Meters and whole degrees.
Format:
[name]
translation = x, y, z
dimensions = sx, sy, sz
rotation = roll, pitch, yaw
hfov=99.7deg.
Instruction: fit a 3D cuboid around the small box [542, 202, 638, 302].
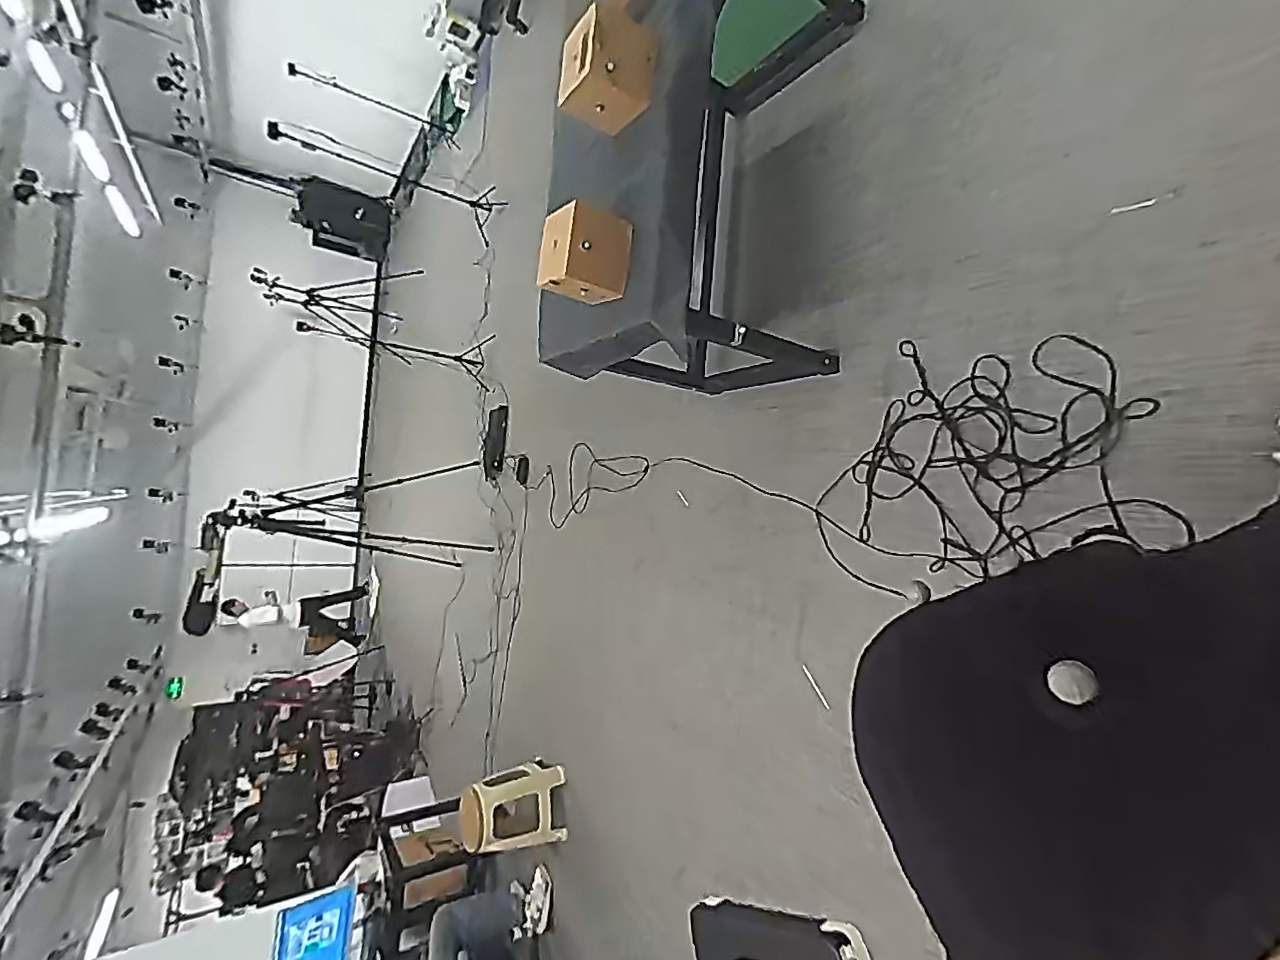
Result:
[small box]
translation = -0.123, -0.553, 1.343
dimensions = 0.168, 0.176, 0.179
rotation = 14, 95, 54
